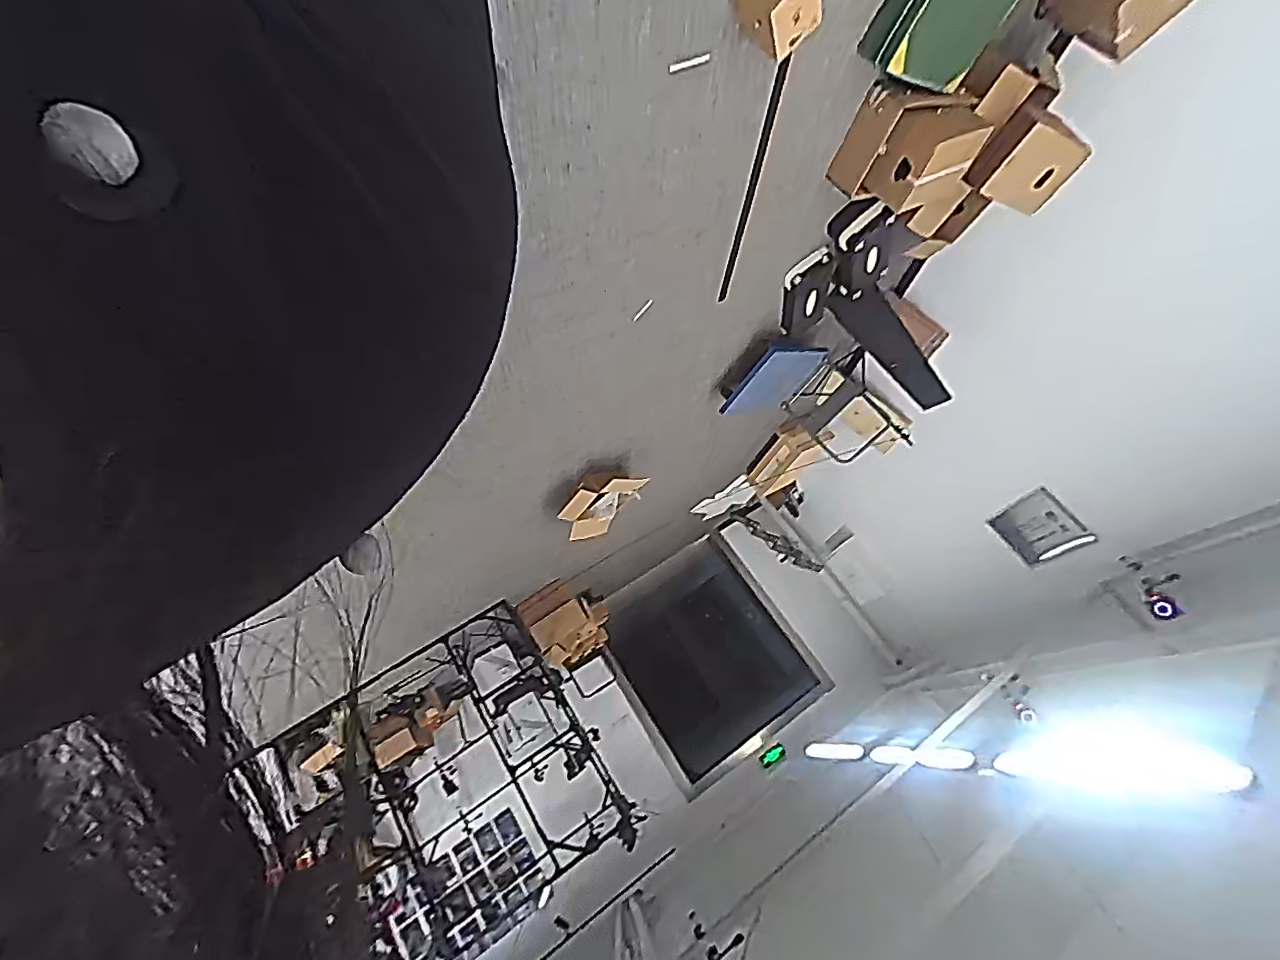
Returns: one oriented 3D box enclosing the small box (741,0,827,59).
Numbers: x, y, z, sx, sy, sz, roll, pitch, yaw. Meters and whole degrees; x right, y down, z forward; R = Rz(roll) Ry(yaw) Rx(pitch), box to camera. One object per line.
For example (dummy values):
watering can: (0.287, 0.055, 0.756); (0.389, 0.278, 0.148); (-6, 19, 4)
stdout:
small box: (0.408, -1.380, 1.549); (0.168, 0.176, 0.179); (-41, 161, 15)
